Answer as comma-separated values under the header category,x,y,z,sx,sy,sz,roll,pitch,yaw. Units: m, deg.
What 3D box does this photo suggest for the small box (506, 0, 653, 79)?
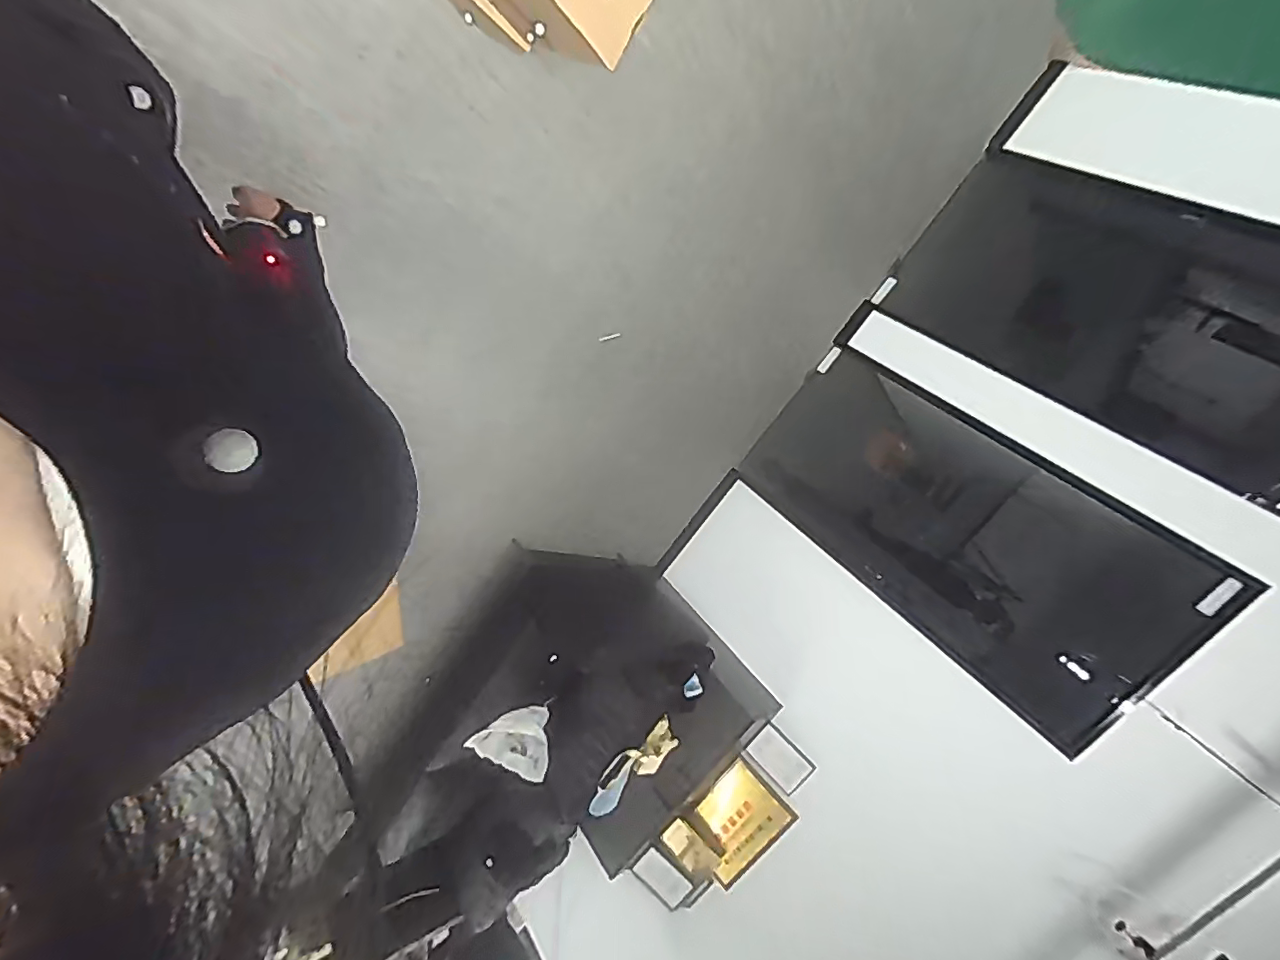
category,x,y,z,sx,sy,sz,roll,pitch,yaw
small box,-0.111,-0.847,0.928,0.168,0.176,0.179,-55,147,13

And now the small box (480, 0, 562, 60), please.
category,x,y,z,sx,sy,sz,roll,pitch,yaw
small box,-0.202,-0.949,1.018,0.179,0.176,0.168,17,113,-53
